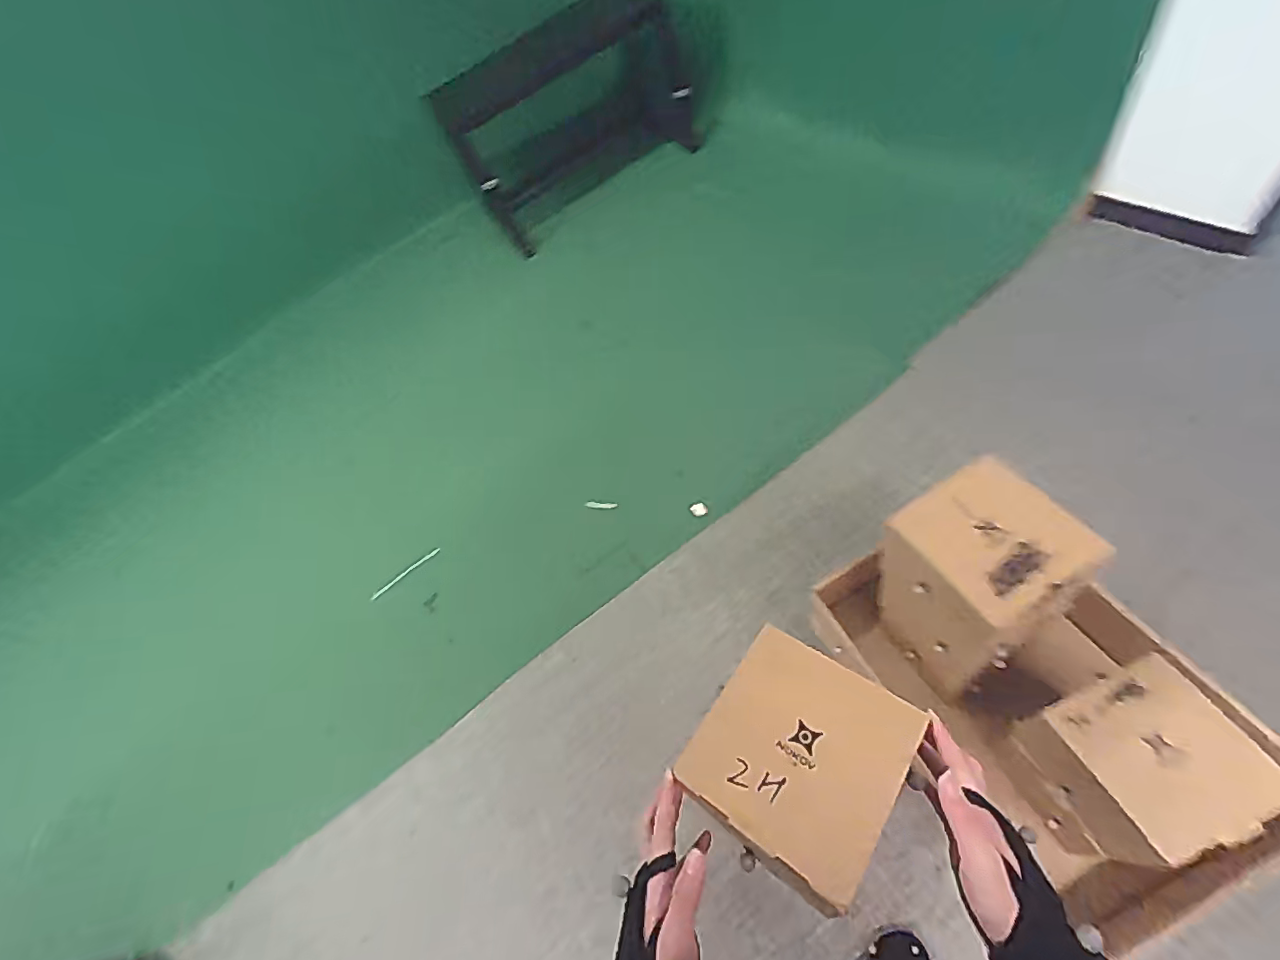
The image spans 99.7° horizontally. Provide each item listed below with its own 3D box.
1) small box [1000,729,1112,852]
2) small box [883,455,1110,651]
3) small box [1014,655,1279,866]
[{"bbox_3d":[0.686,0.438,0.822,0.179,0.176,0.168,-28,54,4],"label":"small box"},{"bbox_3d":[0.451,0.107,0.720,0.168,0.176,0.179,-33,53,0],"label":"small box"},{"bbox_3d":[0.631,0.356,0.694,0.168,0.176,0.179,-29,54,3],"label":"small box"}]
